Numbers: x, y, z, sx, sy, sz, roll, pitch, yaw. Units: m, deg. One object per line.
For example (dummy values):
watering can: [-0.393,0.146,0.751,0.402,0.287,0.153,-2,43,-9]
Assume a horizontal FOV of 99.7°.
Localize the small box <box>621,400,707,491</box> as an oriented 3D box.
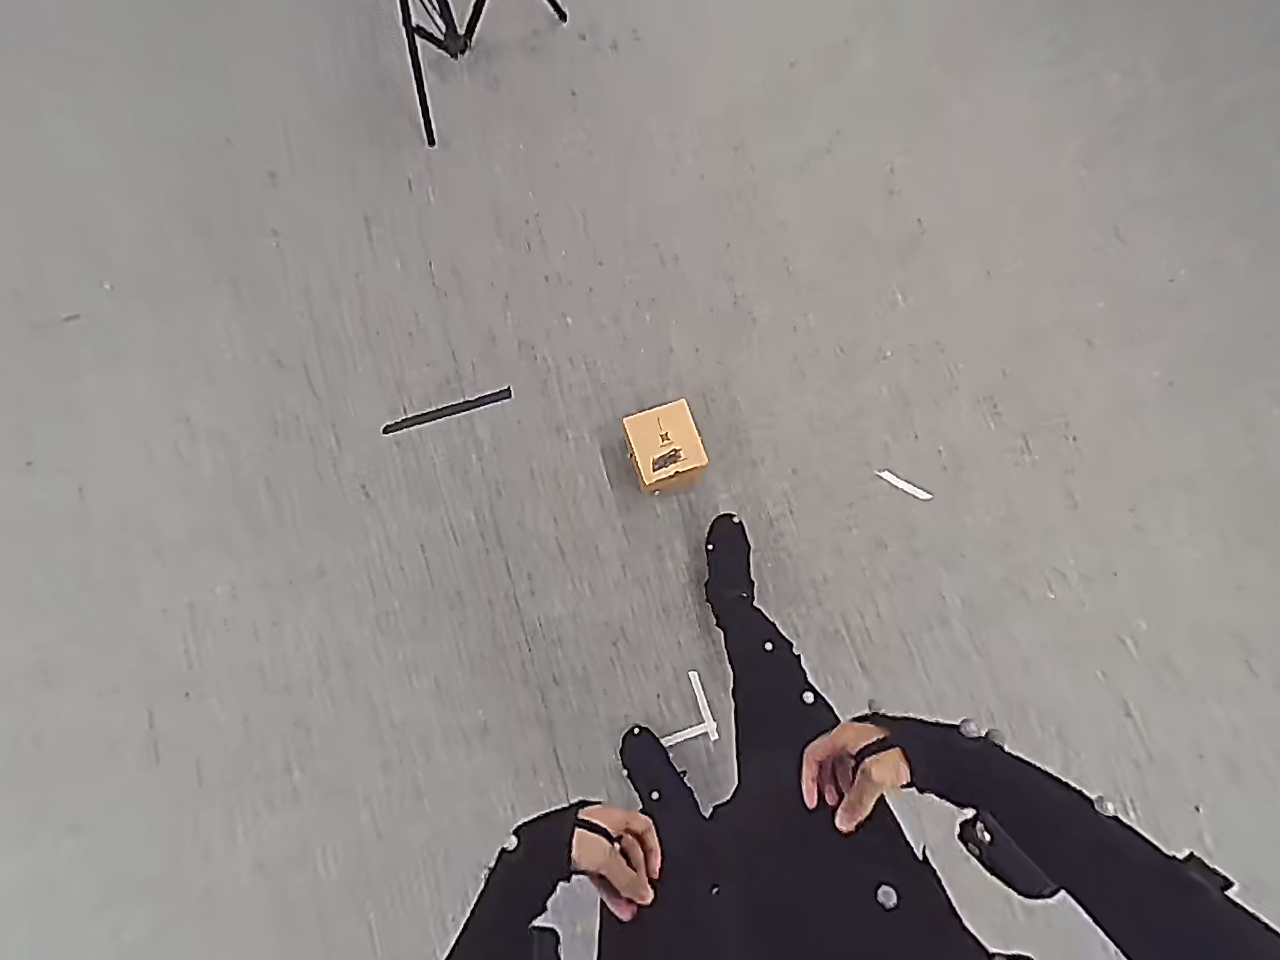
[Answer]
small box: [0.058,-0.078,1.372,0.168,0.176,0.179,-19,81,-4]
